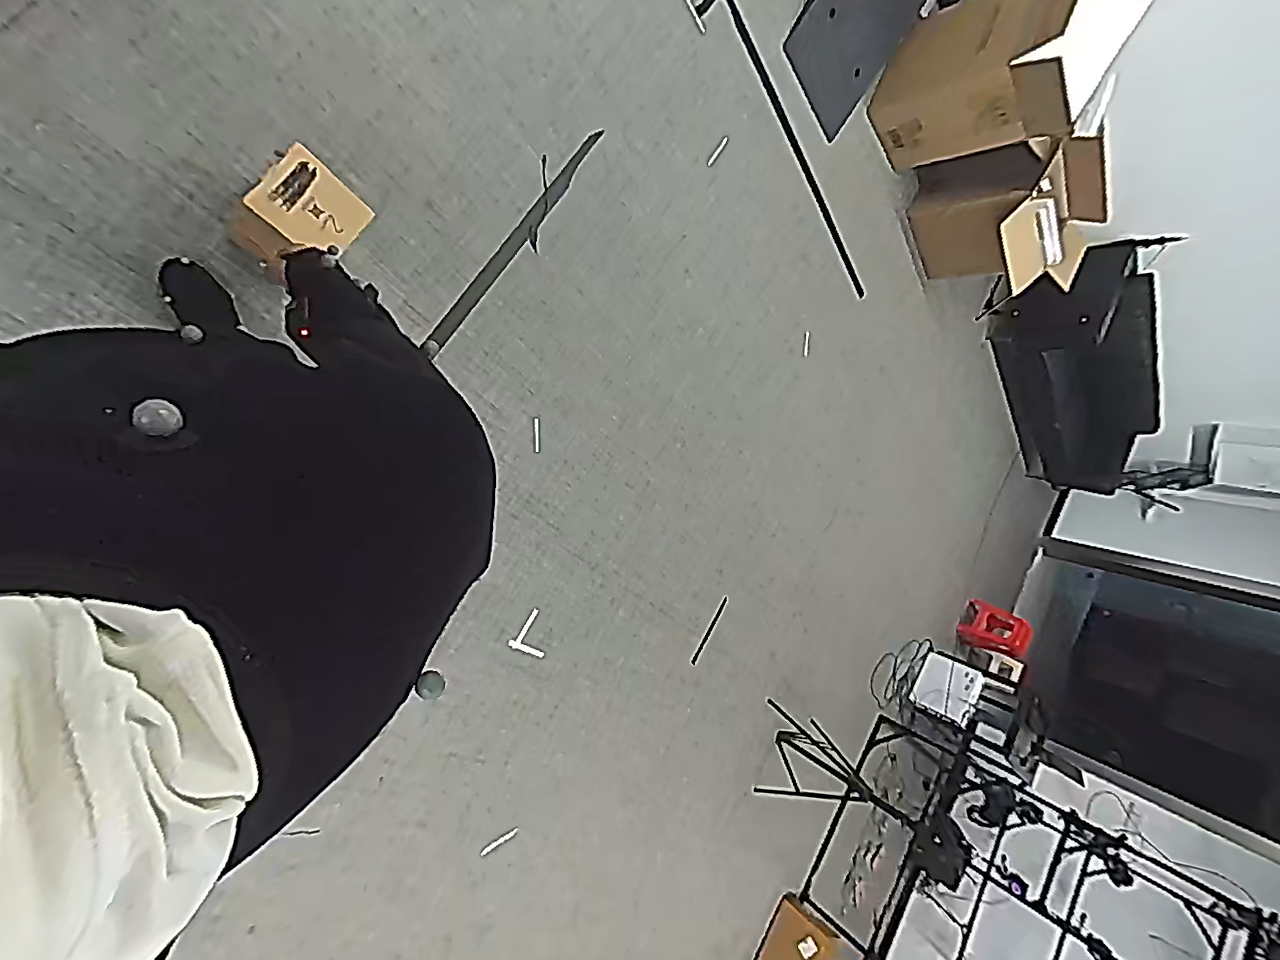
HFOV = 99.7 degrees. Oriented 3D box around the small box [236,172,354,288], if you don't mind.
[{"bbox_3d":[-0.811,-0.574,1.264,0.168,0.176,0.179,39,75,-38],"label":"small box"}]
